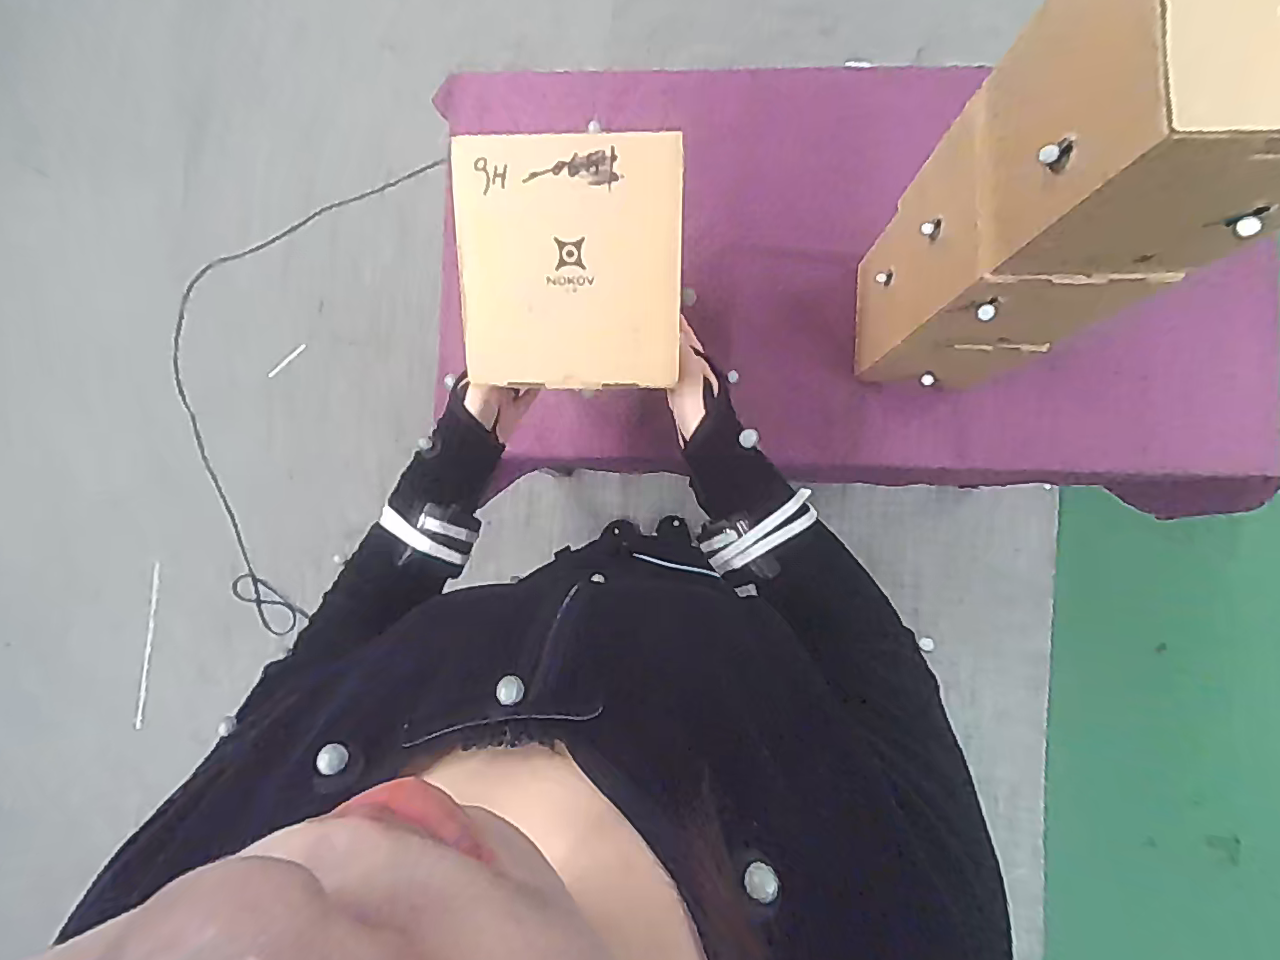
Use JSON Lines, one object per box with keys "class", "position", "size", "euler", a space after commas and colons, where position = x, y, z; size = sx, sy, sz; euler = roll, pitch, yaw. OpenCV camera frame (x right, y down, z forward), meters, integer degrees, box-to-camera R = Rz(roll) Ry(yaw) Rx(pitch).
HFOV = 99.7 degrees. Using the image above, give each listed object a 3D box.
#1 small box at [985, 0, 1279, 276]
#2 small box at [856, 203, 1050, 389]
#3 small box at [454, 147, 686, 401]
{"class": "small box", "position": [0.372, -0.259, 0.379], "size": [0.168, 0.176, 0.179], "euler": [1, 85, 3]}
{"class": "small box", "position": [0.393, -0.229, 0.705], "size": [0.168, 0.176, 0.179], "euler": [4, 87, 4]}
{"class": "small box", "position": [-0.045, -0.169, 0.474], "size": [0.168, 0.176, 0.179], "euler": [1, 105, 3]}
